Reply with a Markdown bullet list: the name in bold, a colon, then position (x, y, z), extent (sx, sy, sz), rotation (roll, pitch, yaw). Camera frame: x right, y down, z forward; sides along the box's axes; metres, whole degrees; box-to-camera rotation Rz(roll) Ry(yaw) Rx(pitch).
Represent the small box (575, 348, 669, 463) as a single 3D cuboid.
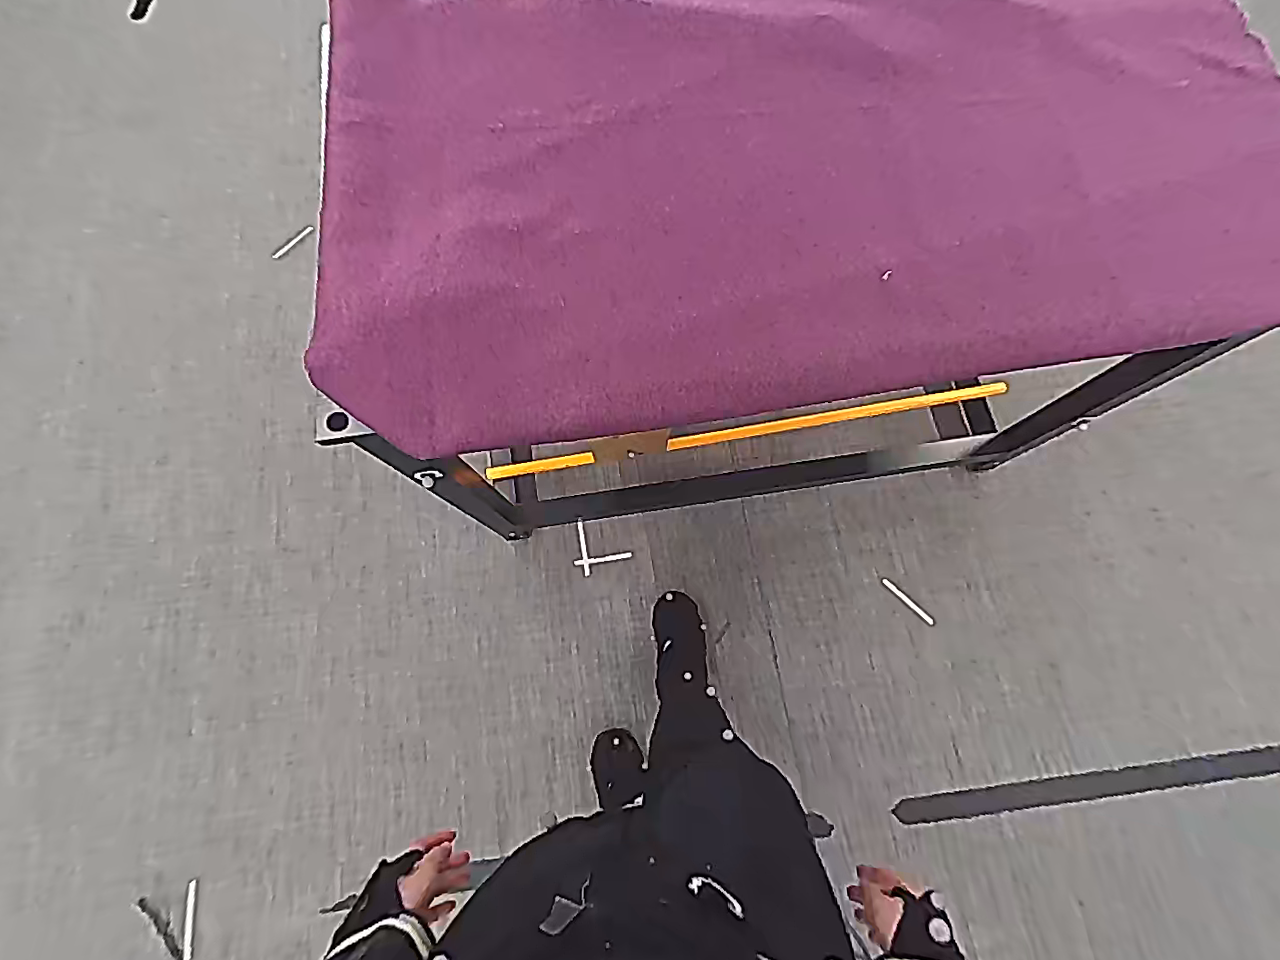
- **small box**: position (-0.038, -0.153, 1.155), extent (0.168, 0.176, 0.179), rotation (-12, 76, -2)
